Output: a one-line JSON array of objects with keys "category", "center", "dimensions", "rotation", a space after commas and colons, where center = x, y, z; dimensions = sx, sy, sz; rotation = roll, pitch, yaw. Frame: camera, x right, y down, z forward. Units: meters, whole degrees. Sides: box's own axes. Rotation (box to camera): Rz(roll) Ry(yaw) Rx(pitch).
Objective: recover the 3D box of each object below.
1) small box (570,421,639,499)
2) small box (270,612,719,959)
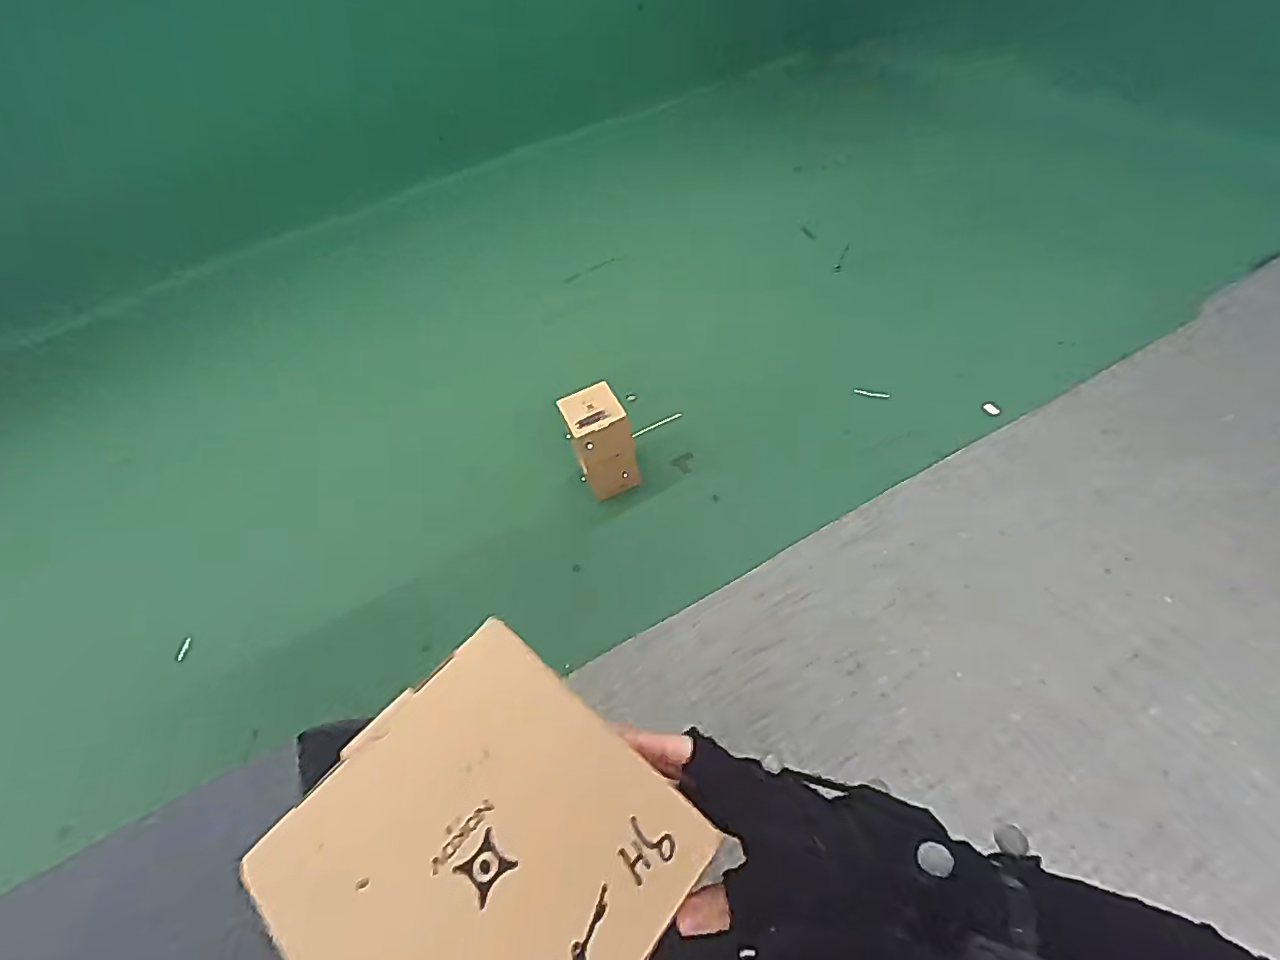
[{"category": "small box", "center": [-0.113, -0.059, 1.802], "dimensions": [0.168, 0.176, 0.179], "rotation": [-23, 54, -7]}, {"category": "small box", "center": [-0.069, 0.222, 0.336], "dimensions": [0.179, 0.176, 0.168], "rotation": [35, 66, 27]}]
